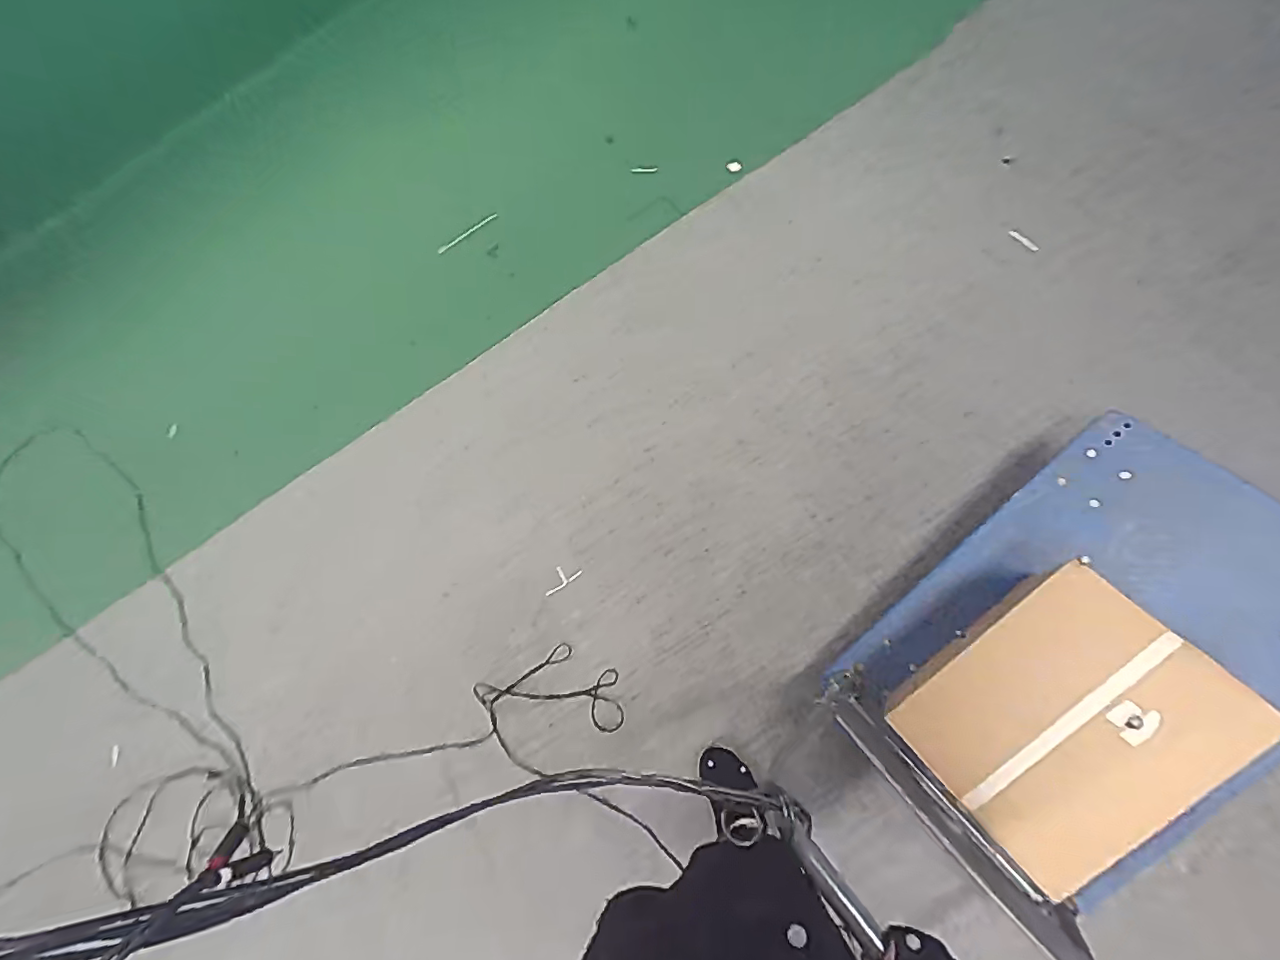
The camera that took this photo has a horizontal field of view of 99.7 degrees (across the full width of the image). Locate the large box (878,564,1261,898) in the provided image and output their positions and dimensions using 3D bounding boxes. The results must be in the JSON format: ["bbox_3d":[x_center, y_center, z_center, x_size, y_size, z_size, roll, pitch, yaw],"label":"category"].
[{"bbox_3d":[0.693,0.415,0.966,0.408,0.320,0.320,-44,63,7],"label":"large box"}]
